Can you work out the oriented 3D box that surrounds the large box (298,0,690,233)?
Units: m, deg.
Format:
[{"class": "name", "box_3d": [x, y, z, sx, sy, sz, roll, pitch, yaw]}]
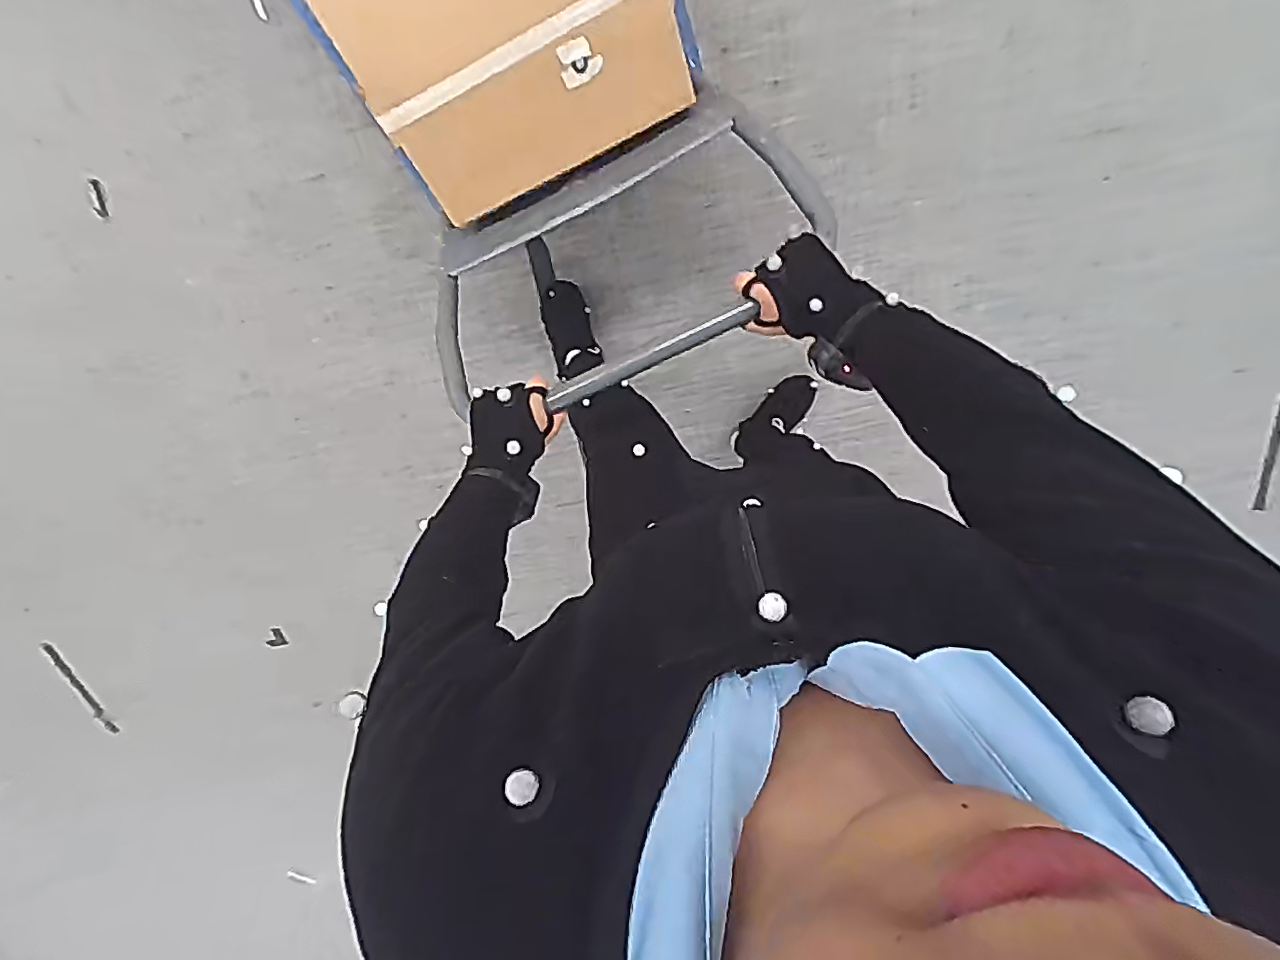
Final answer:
[{"class": "large box", "box_3d": [-0.194, -0.651, 0.797, 0.408, 0.320, 0.320, -25, 137, 8]}]
